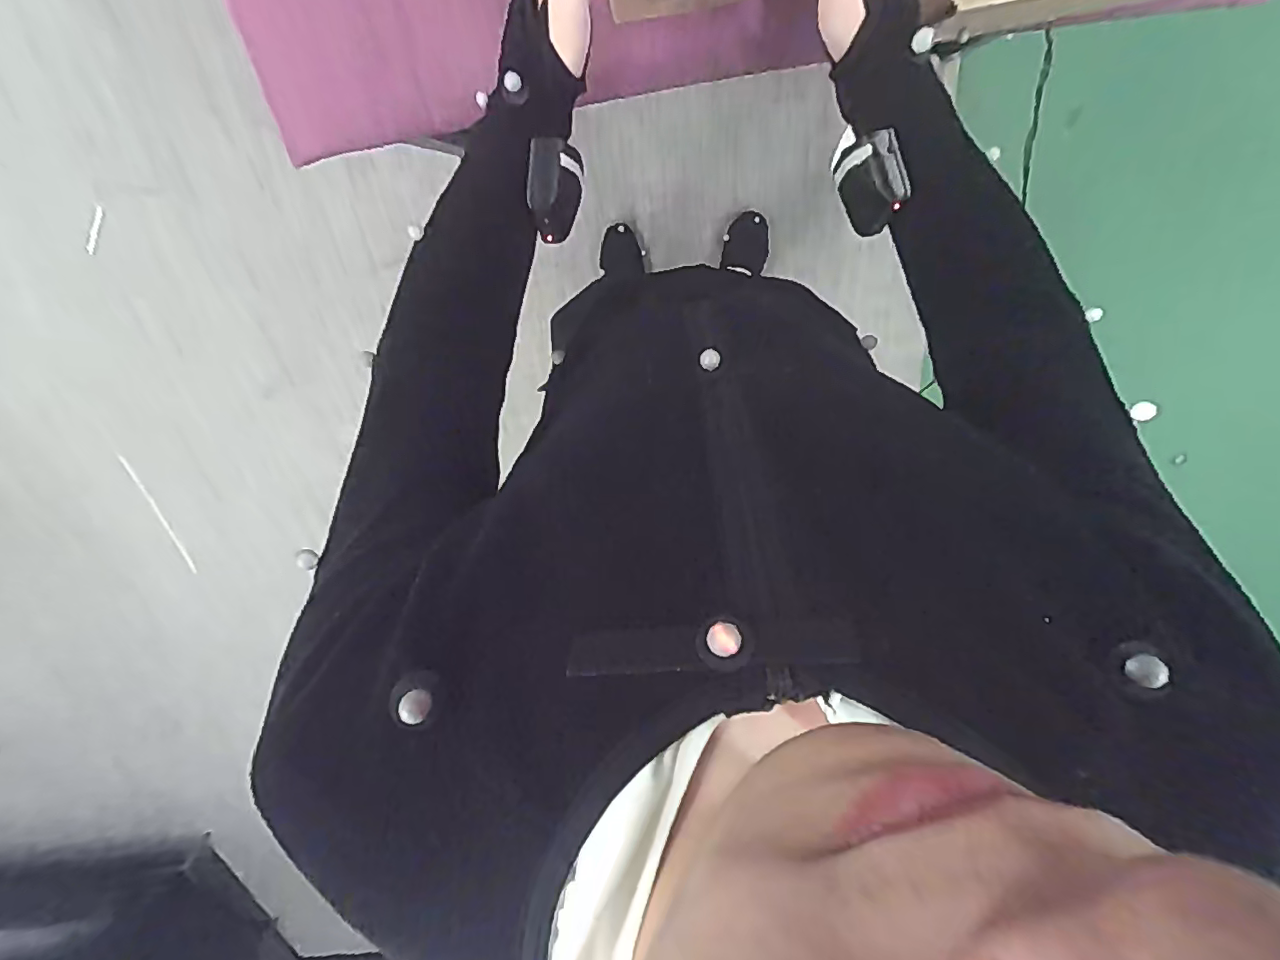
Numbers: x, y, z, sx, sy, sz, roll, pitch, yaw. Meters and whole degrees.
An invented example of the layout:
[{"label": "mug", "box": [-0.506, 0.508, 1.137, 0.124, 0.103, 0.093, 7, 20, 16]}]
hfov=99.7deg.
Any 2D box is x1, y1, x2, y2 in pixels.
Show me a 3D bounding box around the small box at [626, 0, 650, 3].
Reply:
[{"label": "small box", "box": [0.037, -0.605, 0.529, 0.168, 0.176, 0.179, -6, 117, 3]}]
